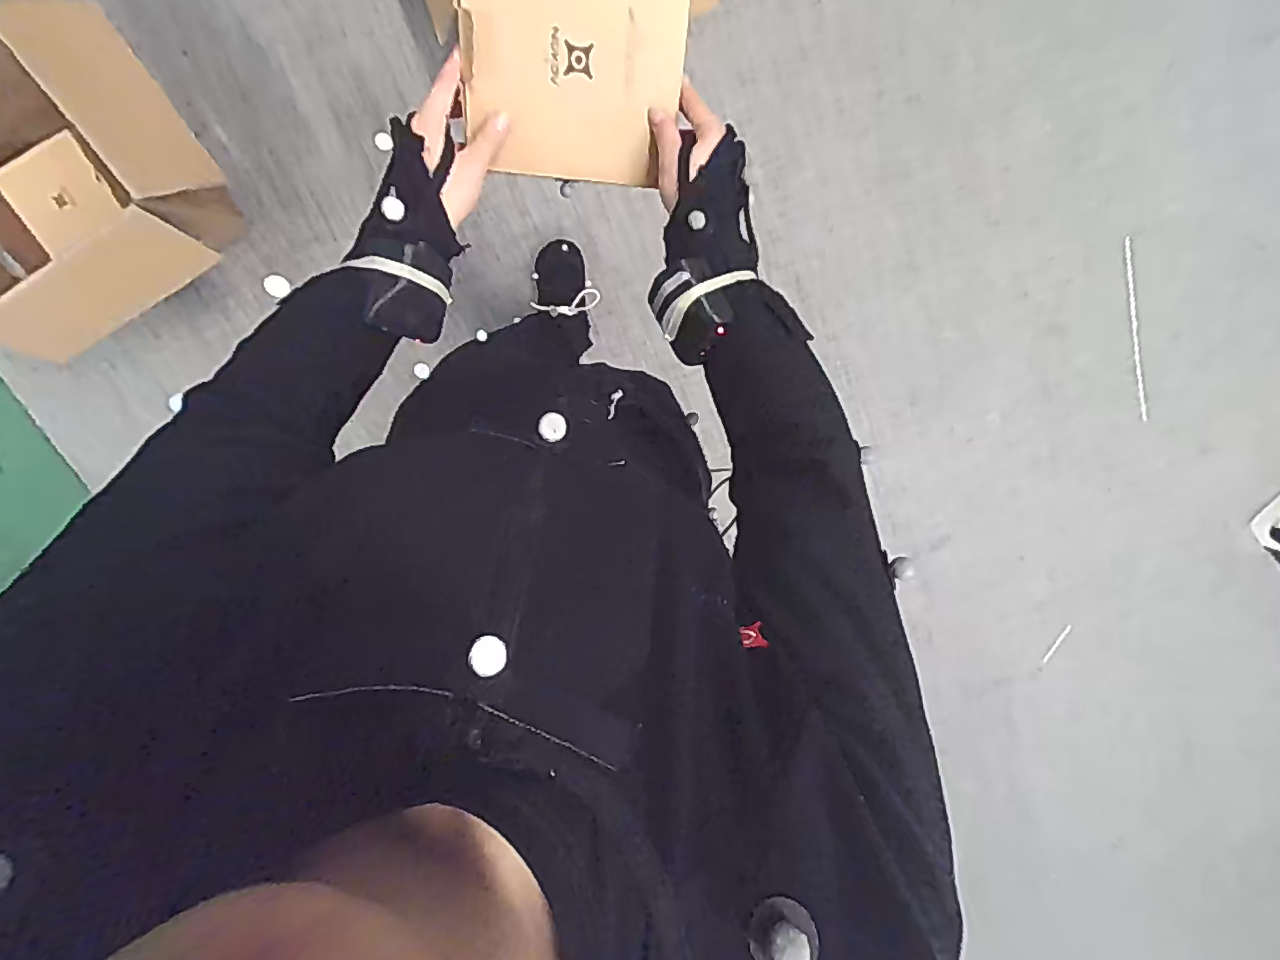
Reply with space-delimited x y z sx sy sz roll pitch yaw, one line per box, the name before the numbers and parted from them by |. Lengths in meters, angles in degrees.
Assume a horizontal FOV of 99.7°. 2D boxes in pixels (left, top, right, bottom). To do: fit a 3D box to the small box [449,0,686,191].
small box | -0.063 -0.362 0.488 0.179 0.176 0.168 2 119 -8
